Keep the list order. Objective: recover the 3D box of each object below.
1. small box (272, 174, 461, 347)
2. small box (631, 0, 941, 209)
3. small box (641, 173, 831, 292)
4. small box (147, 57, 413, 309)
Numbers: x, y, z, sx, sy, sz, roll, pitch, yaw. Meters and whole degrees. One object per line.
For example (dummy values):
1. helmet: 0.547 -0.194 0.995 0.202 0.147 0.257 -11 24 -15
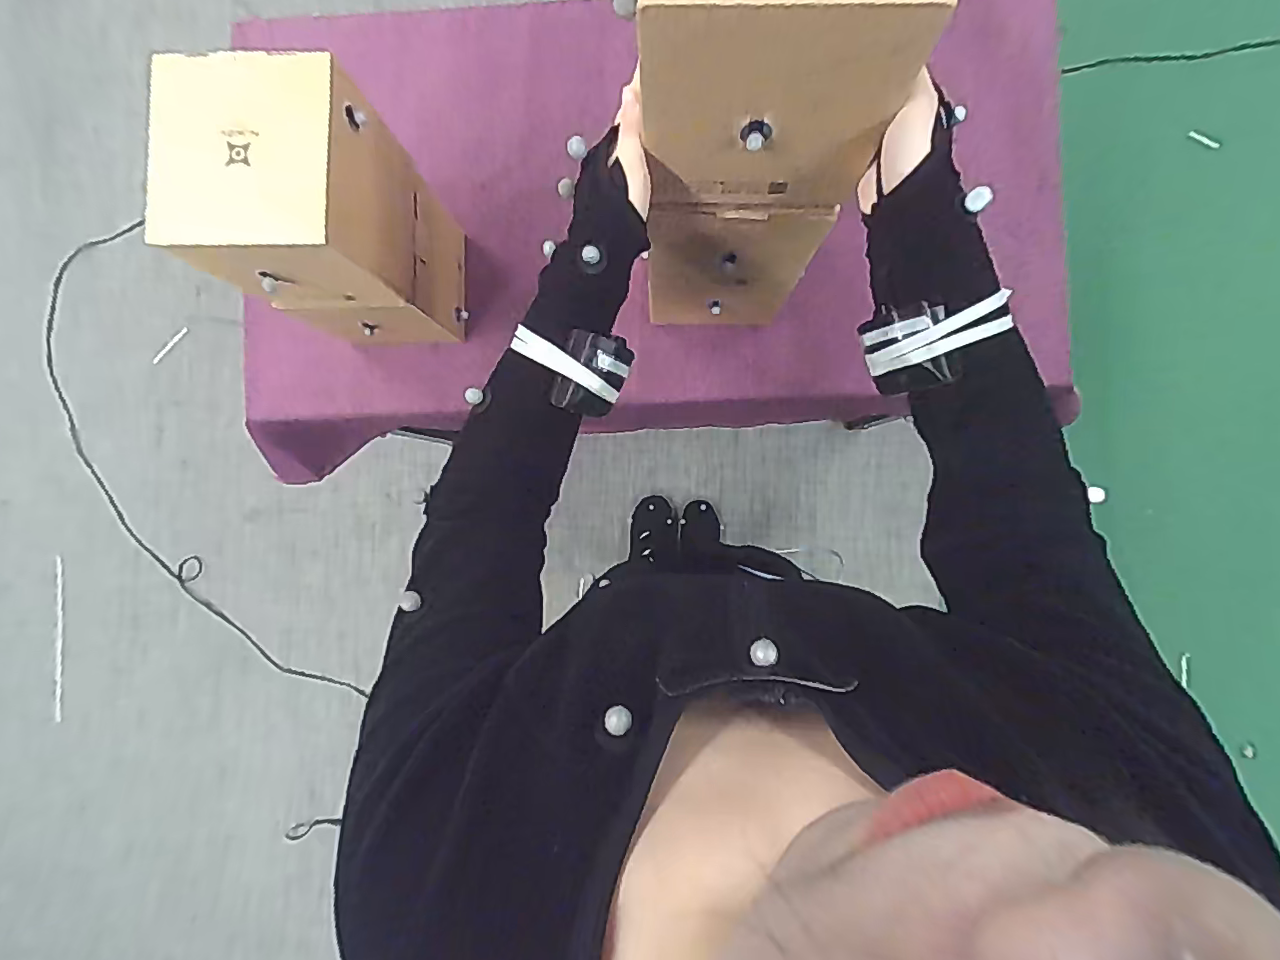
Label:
1. small box: -0.350 -0.281 0.723 0.179 0.176 0.168 0 88 2
2. small box: 0.085 -0.315 0.375 0.168 0.176 0.179 3 83 2
3. small box: 0.092 -0.305 0.547 0.168 0.176 0.179 4 90 2
4. small box: -0.352 -0.287 0.561 0.168 0.176 0.179 1 88 2
